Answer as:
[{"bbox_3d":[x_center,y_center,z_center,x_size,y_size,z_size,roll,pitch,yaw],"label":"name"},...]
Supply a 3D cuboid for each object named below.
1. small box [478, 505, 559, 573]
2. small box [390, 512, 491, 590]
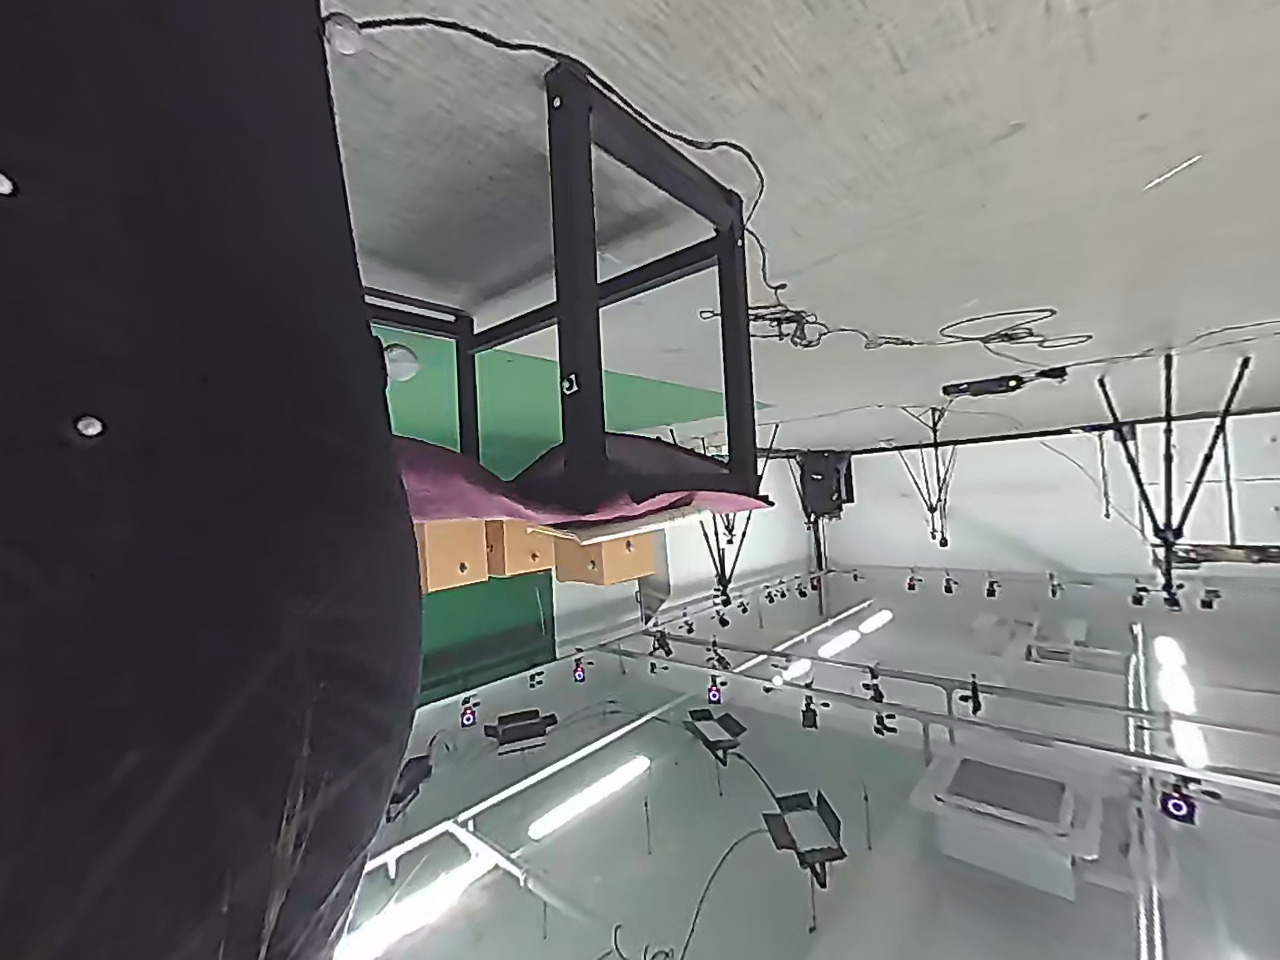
[{"bbox_3d":[-0.352,0.163,1.522,0.168,0.176,0.179,-5,178,41],"label":"small box"},{"bbox_3d":[-0.495,0.170,1.343,0.168,0.176,0.179,-5,178,35],"label":"small box"}]
